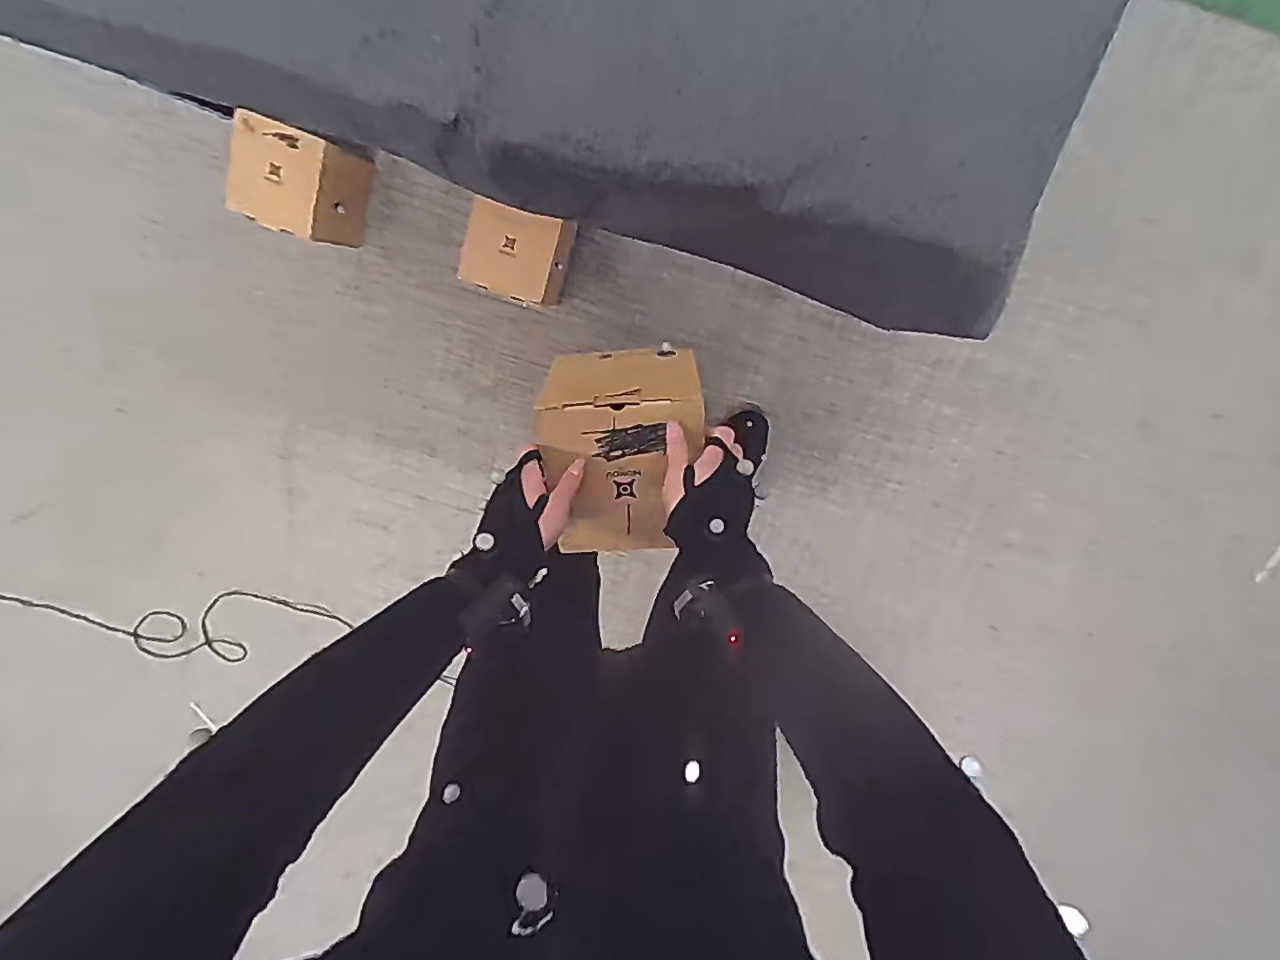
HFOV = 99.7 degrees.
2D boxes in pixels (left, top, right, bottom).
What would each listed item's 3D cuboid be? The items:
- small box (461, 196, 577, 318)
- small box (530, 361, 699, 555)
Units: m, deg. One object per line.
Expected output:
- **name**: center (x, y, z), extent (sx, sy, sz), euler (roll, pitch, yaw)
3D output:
- **small box**: center (-0.233, -0.432, 1.078), extent (0.168, 0.176, 0.179), euler (17, 106, -2)
- **small box**: center (-0.018, -0.034, 0.627), extent (0.168, 0.176, 0.179), euler (-2, 119, 5)
